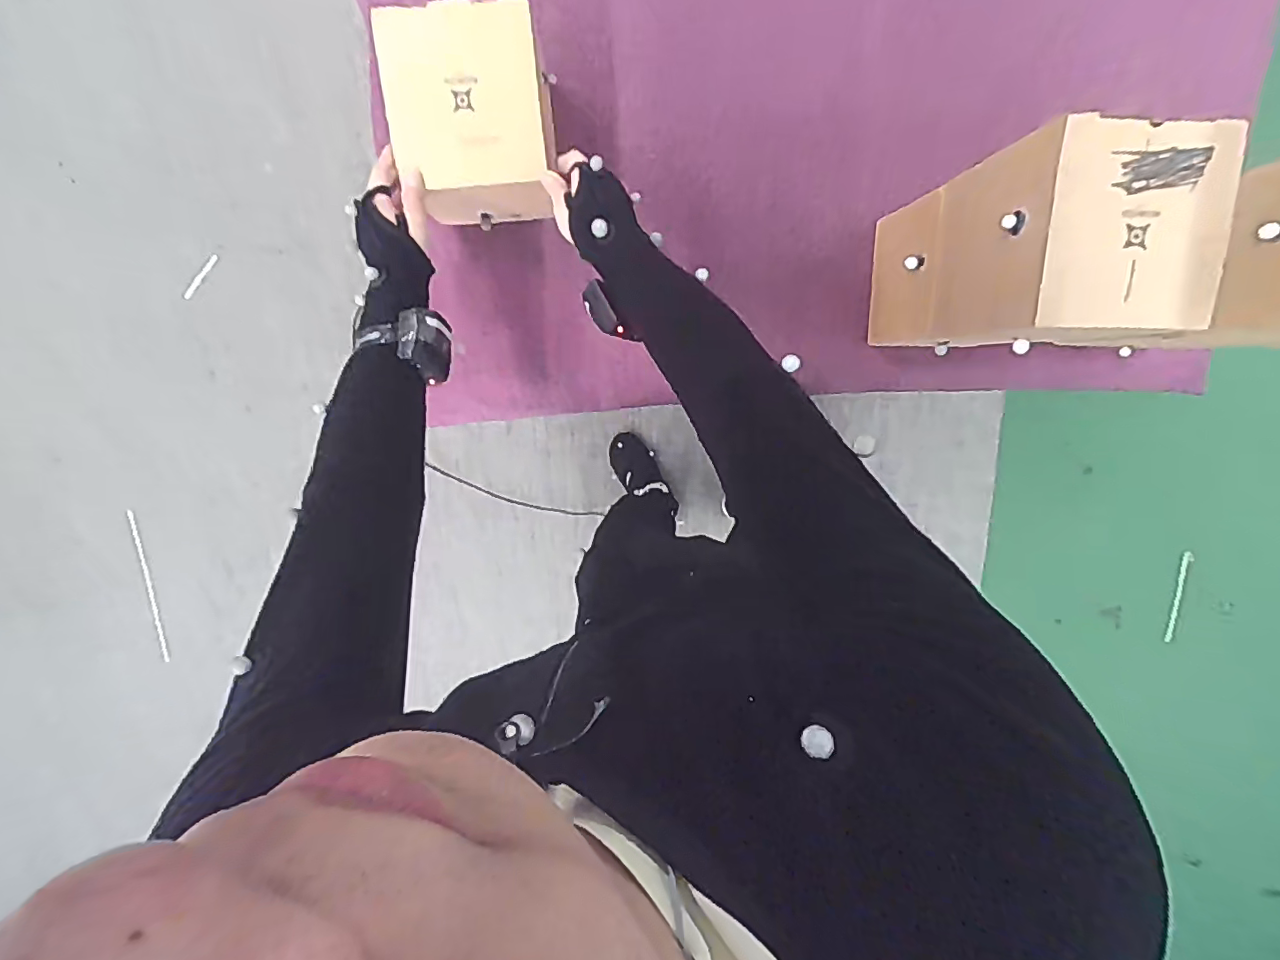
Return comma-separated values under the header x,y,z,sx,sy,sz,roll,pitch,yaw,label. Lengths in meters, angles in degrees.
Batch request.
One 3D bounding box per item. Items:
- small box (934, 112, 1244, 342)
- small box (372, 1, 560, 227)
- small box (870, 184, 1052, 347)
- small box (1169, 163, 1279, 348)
x,y,z,sx,sy,sz,roll,pitch,yaw,label
0.430,-0.238,0.551,0.168,0.176,0.179,0,102,-2,small box
-0.192,-0.422,0.652,0.168,0.176,0.179,-5,103,-1,small box
0.422,-0.268,0.713,0.168,0.176,0.179,0,101,-2,small box
0.711,-0.234,0.560,0.168,0.176,0.179,2,101,-2,small box
